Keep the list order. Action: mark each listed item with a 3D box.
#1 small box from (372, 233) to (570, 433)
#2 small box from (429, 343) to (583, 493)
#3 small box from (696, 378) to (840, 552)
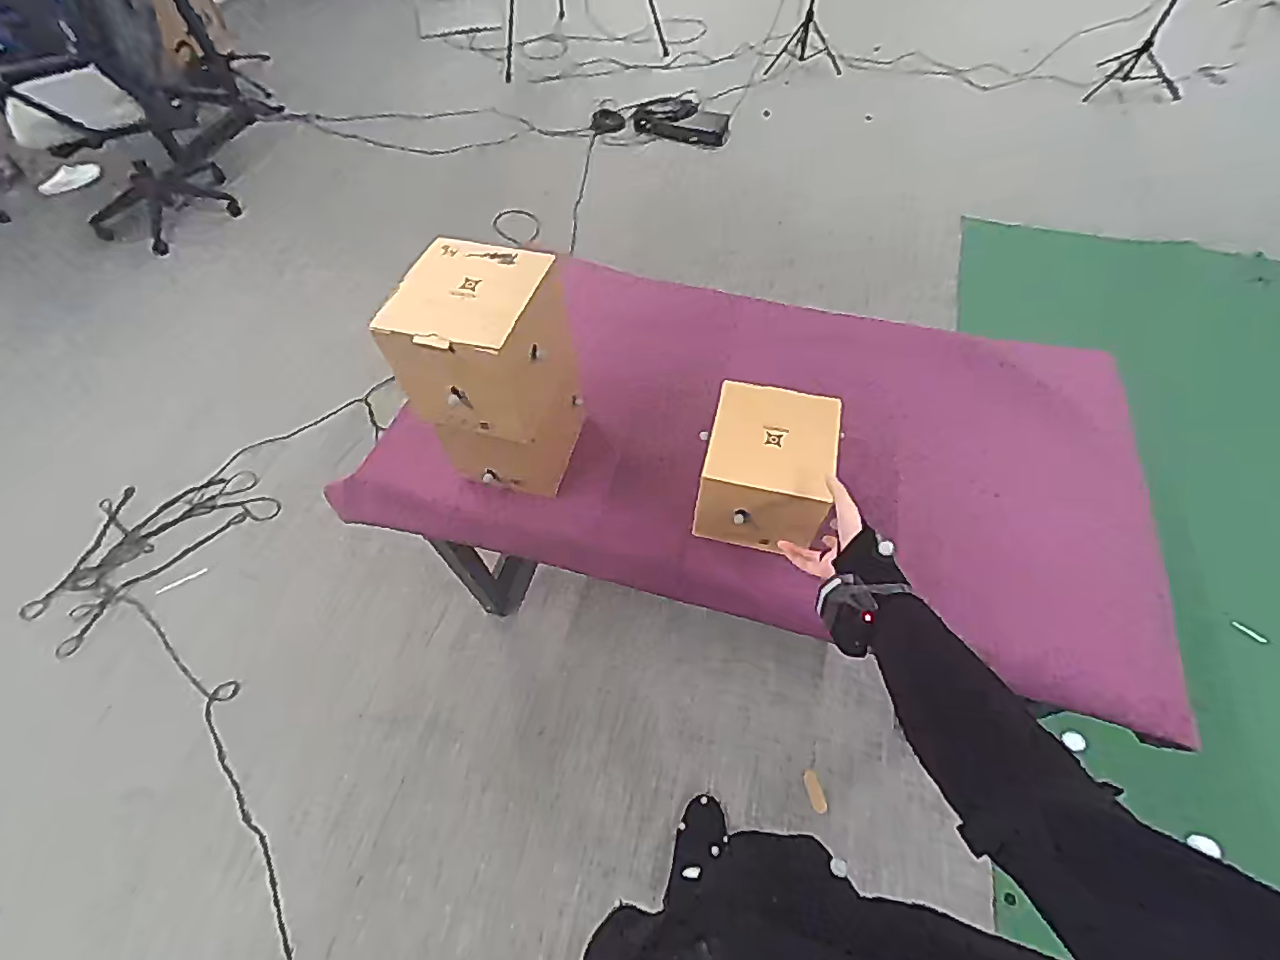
[{"bbox_3d":[-0.200,-0.186,0.704,0.168,0.176,0.179,13,60,10],"label":"small box"},{"bbox_3d":[-0.194,-0.107,0.848,0.168,0.176,0.179,12,59,9],"label":"small box"},{"bbox_3d":[0.178,-0.017,0.782,0.168,0.176,0.179,12,57,9],"label":"small box"}]
